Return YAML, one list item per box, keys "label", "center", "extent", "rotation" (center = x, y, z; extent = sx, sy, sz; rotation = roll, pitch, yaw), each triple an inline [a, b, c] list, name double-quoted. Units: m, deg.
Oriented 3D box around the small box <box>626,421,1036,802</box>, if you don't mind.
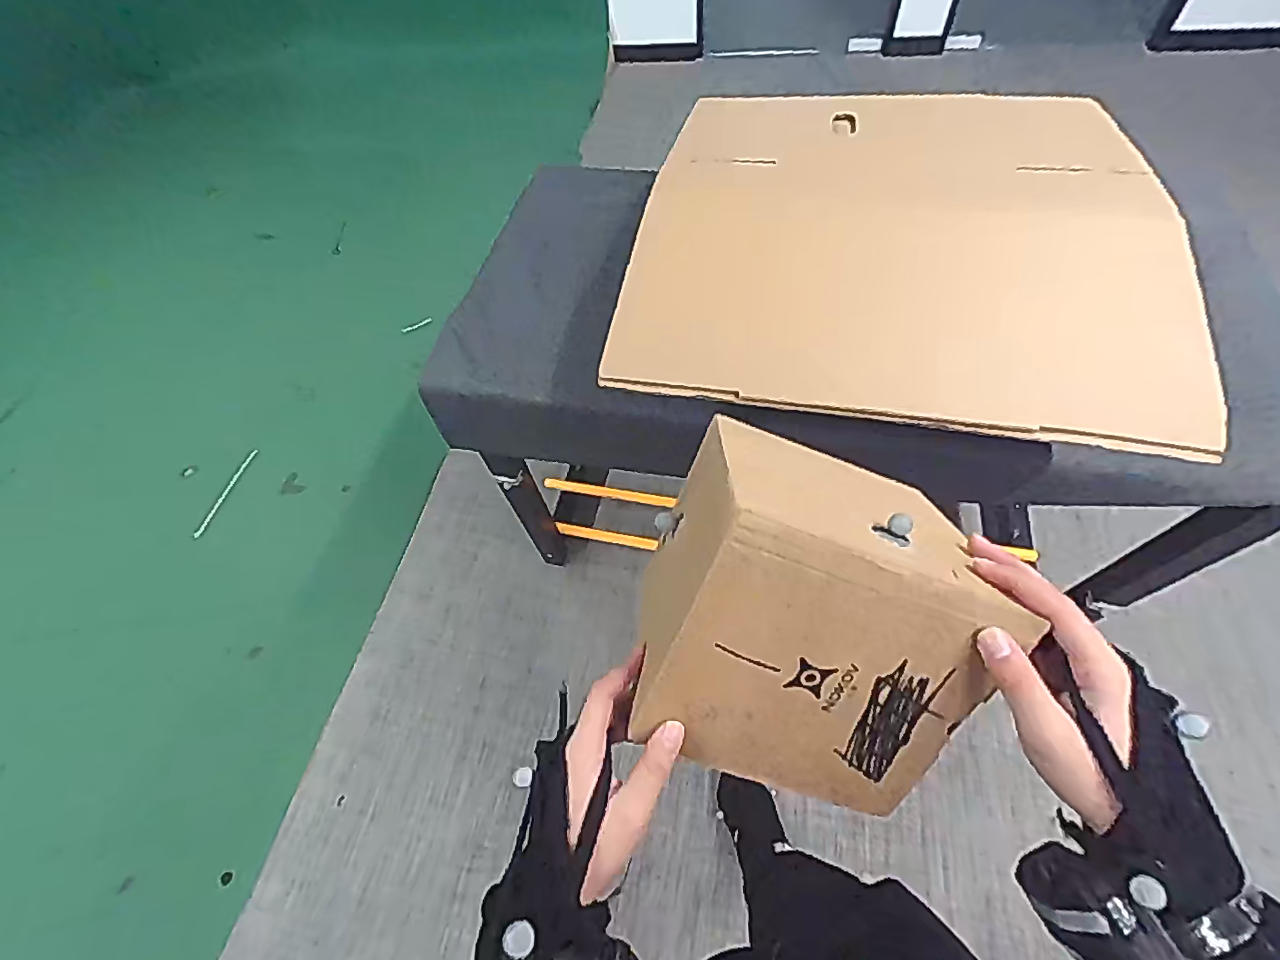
- label: "small box"
  center: [0.104, 0.075, 0.378]
  extent: [0.179, 0.168, 0.176]
  rotation: [20, 23, -5]
